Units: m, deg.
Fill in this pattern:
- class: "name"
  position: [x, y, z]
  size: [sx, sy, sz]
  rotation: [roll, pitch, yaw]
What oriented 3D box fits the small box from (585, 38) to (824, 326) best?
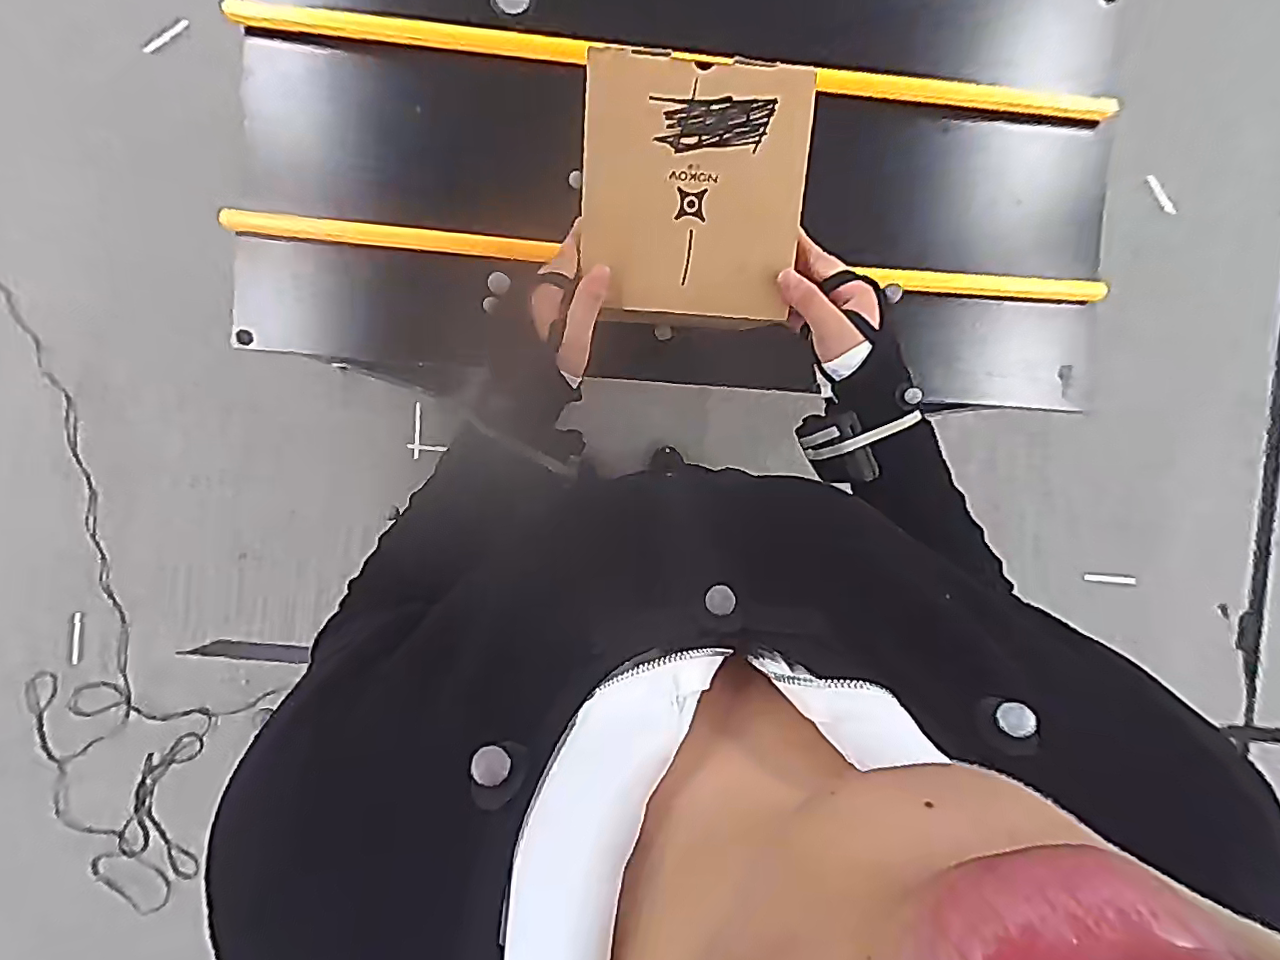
- class: "small box"
  position: [0.042, -0.237, 0.478]
  size: [0.168, 0.176, 0.179]
  rotation: [4, 104, -3]
